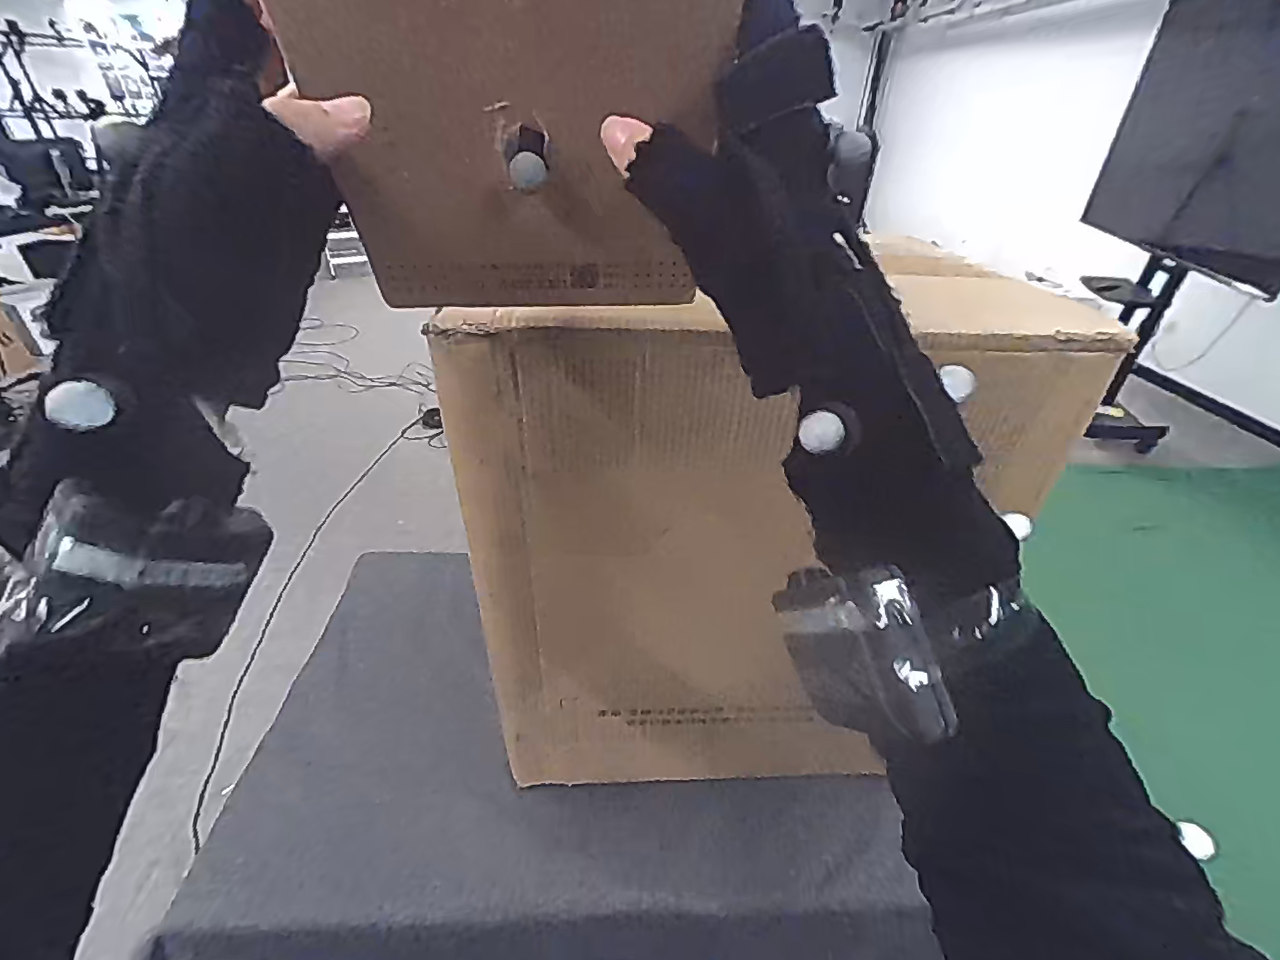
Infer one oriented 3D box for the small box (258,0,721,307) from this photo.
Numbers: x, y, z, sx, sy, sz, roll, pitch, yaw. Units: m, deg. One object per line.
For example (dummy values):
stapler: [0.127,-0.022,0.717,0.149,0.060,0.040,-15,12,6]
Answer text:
small box: [-0.053,-0.207,0.278,0.168,0.176,0.179,-1,56,-3]
